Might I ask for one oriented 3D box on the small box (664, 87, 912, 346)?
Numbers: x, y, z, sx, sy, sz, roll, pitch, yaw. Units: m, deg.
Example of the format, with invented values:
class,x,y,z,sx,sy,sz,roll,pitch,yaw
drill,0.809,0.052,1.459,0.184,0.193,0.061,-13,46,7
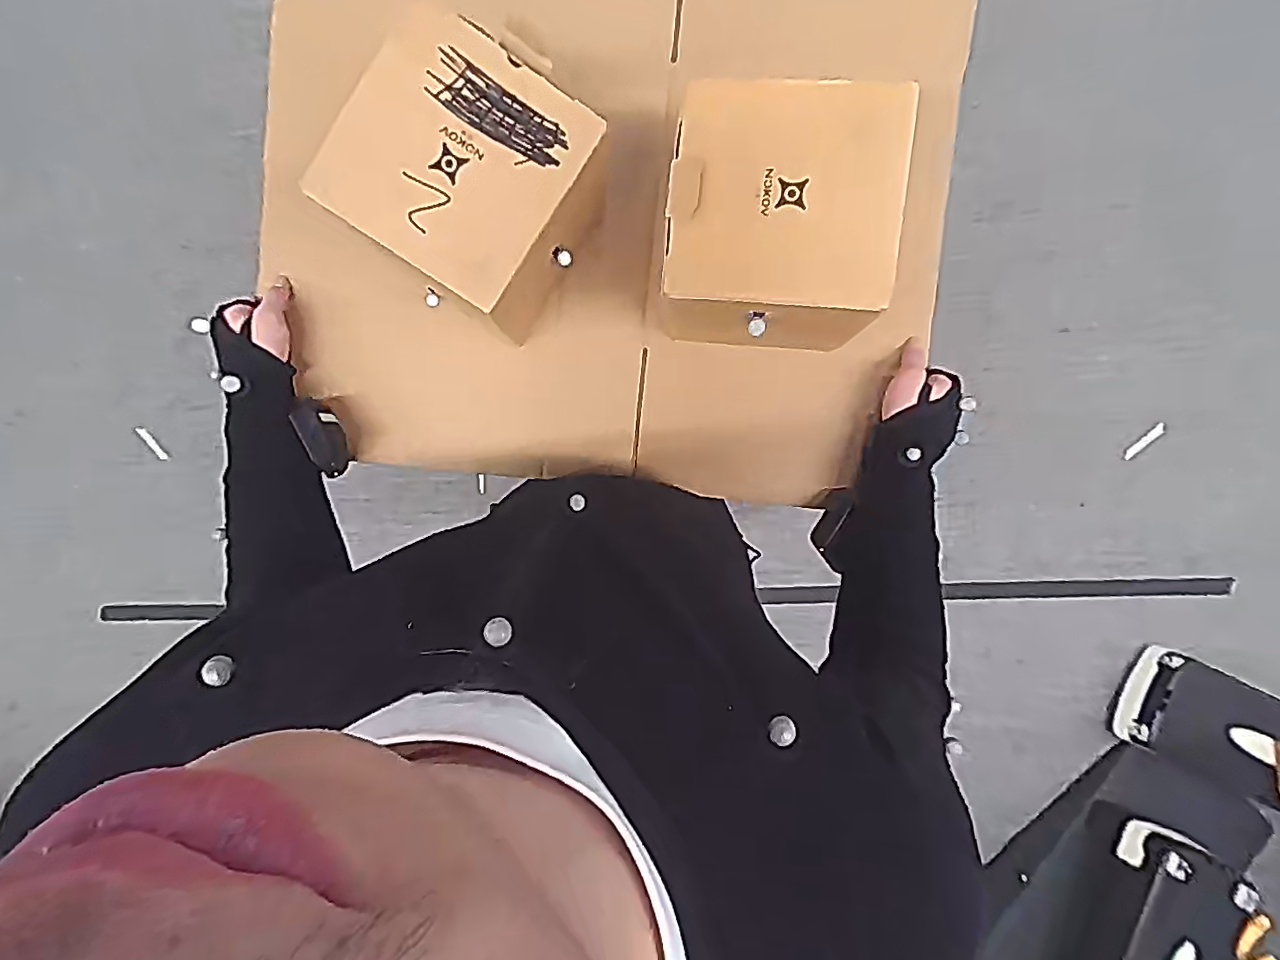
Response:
class,x,y,z,sx,sy,sz,roll,pitch,yaw
small box,0.123,-0.226,0.504,0.179,0.176,0.168,6,94,7
